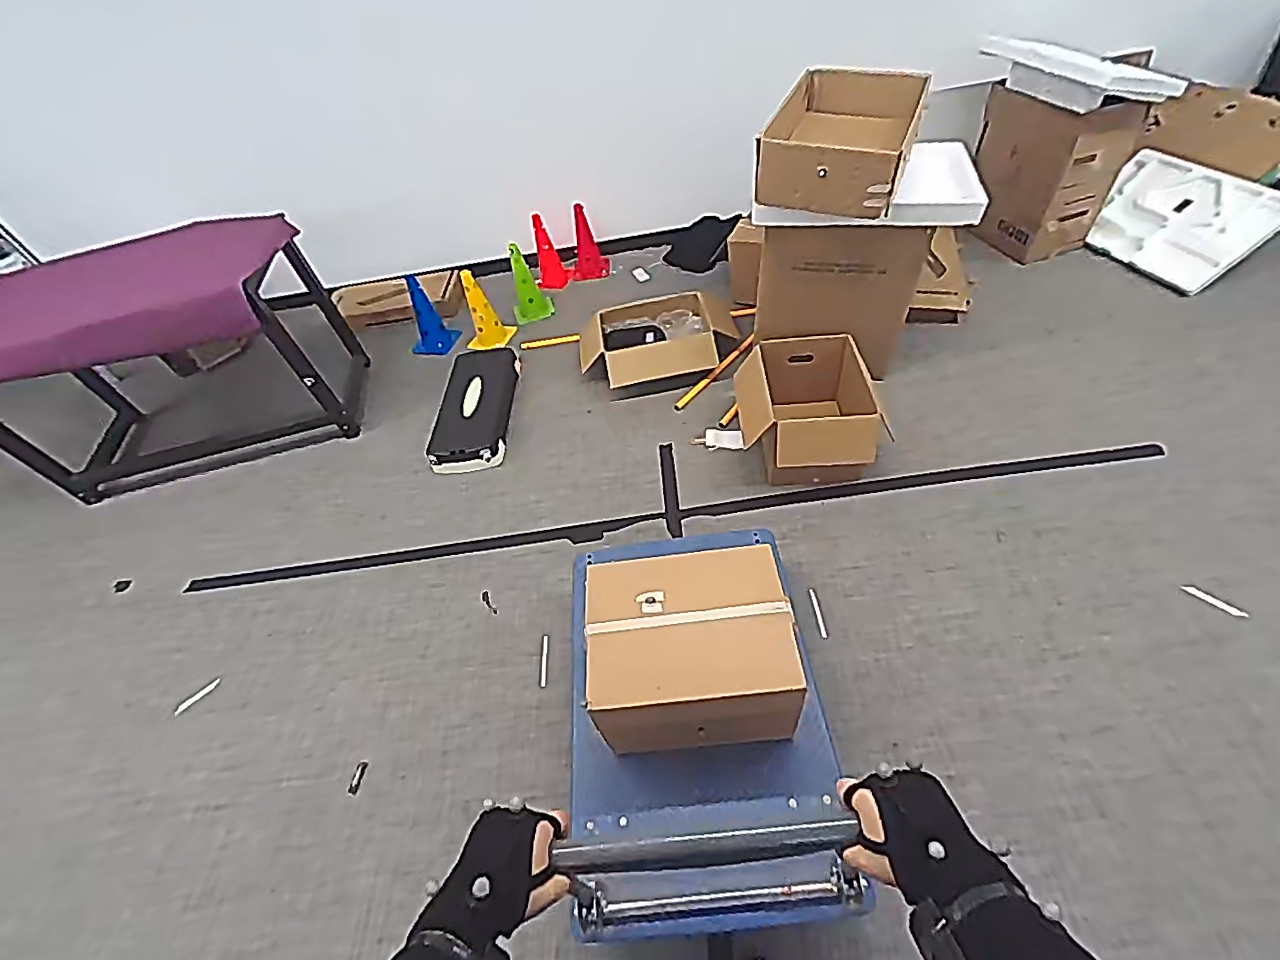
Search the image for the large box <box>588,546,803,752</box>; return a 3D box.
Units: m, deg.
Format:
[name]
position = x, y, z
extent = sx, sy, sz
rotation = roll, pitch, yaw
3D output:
[large box]
position = 0.115, 0.383, 1.203
extent = 0.408, 0.320, 0.320
rotation = -9, 48, 4
